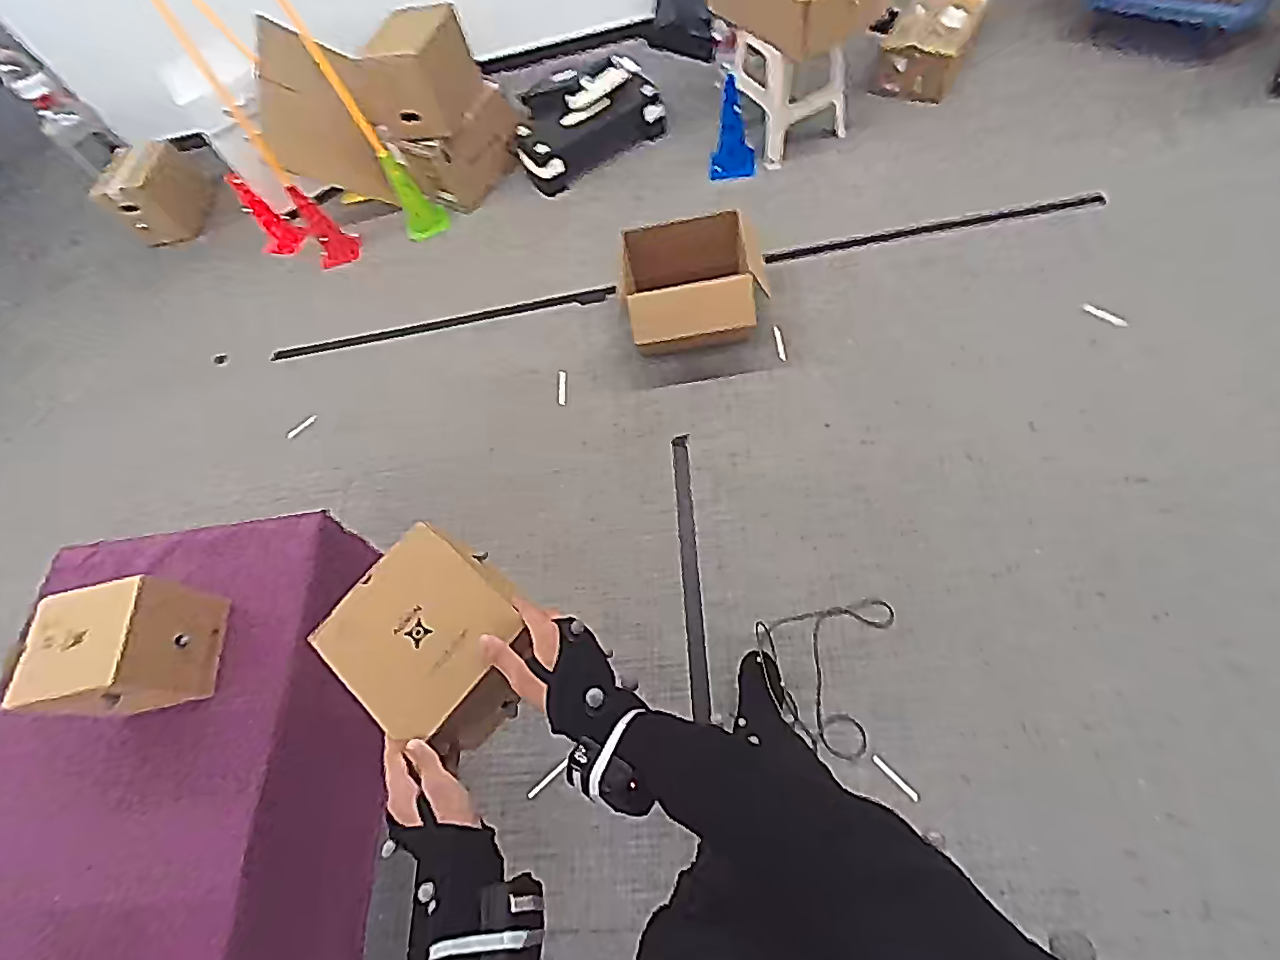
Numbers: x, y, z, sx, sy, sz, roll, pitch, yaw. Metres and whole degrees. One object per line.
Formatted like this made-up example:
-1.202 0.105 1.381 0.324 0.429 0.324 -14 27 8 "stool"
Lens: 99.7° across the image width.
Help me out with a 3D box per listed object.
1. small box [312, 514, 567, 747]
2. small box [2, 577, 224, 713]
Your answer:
-0.213 0.173 0.616 0.179 0.176 0.168 38 78 21 "small box"
-0.824 0.271 0.869 0.179 0.176 0.168 -14 62 5 "small box"
